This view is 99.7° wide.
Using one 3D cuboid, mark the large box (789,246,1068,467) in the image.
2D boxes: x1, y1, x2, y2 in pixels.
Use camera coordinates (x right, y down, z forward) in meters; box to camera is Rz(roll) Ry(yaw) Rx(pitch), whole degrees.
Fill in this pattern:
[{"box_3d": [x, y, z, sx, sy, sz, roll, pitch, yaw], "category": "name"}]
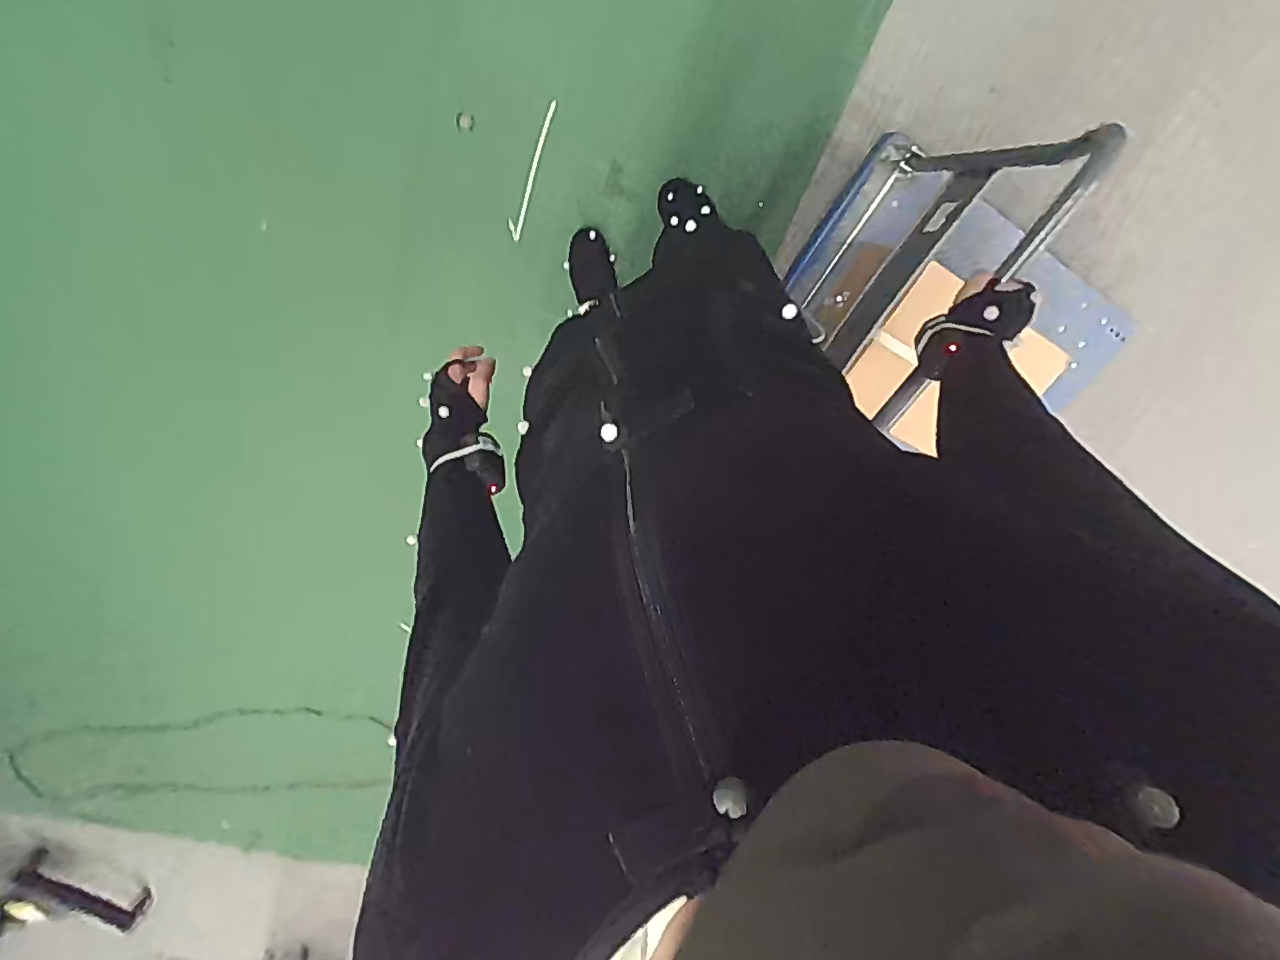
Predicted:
[{"box_3d": [0.629, -0.292, 1.249, 0.408, 0.320, 0.320, 24, 115, -16], "category": "large box"}]
